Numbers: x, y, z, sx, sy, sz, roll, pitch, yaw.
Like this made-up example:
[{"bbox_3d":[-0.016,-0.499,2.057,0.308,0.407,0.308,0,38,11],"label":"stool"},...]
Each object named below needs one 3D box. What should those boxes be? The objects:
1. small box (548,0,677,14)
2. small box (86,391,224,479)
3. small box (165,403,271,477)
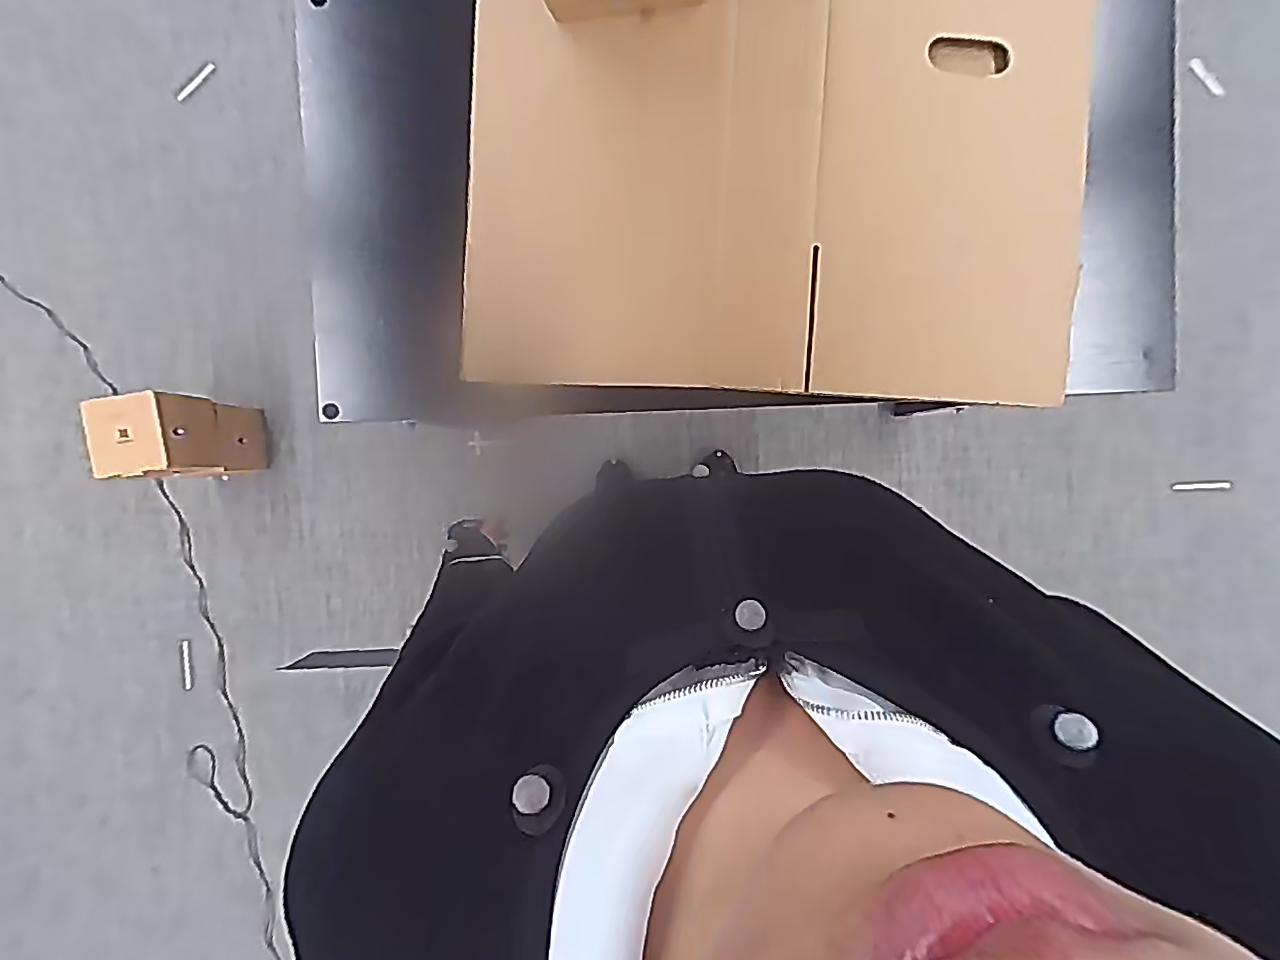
[{"bbox_3d":[-0.028,-0.594,0.510,0.179,0.176,0.168,5,92,13],"label":"small box"},{"bbox_3d":[-1.121,-0.102,1.267,0.168,0.176,0.179,-9,92,0],"label":"small box"},{"bbox_3d":[-1.119,-0.102,1.430,0.168,0.176,0.179,-6,93,1],"label":"small box"}]
